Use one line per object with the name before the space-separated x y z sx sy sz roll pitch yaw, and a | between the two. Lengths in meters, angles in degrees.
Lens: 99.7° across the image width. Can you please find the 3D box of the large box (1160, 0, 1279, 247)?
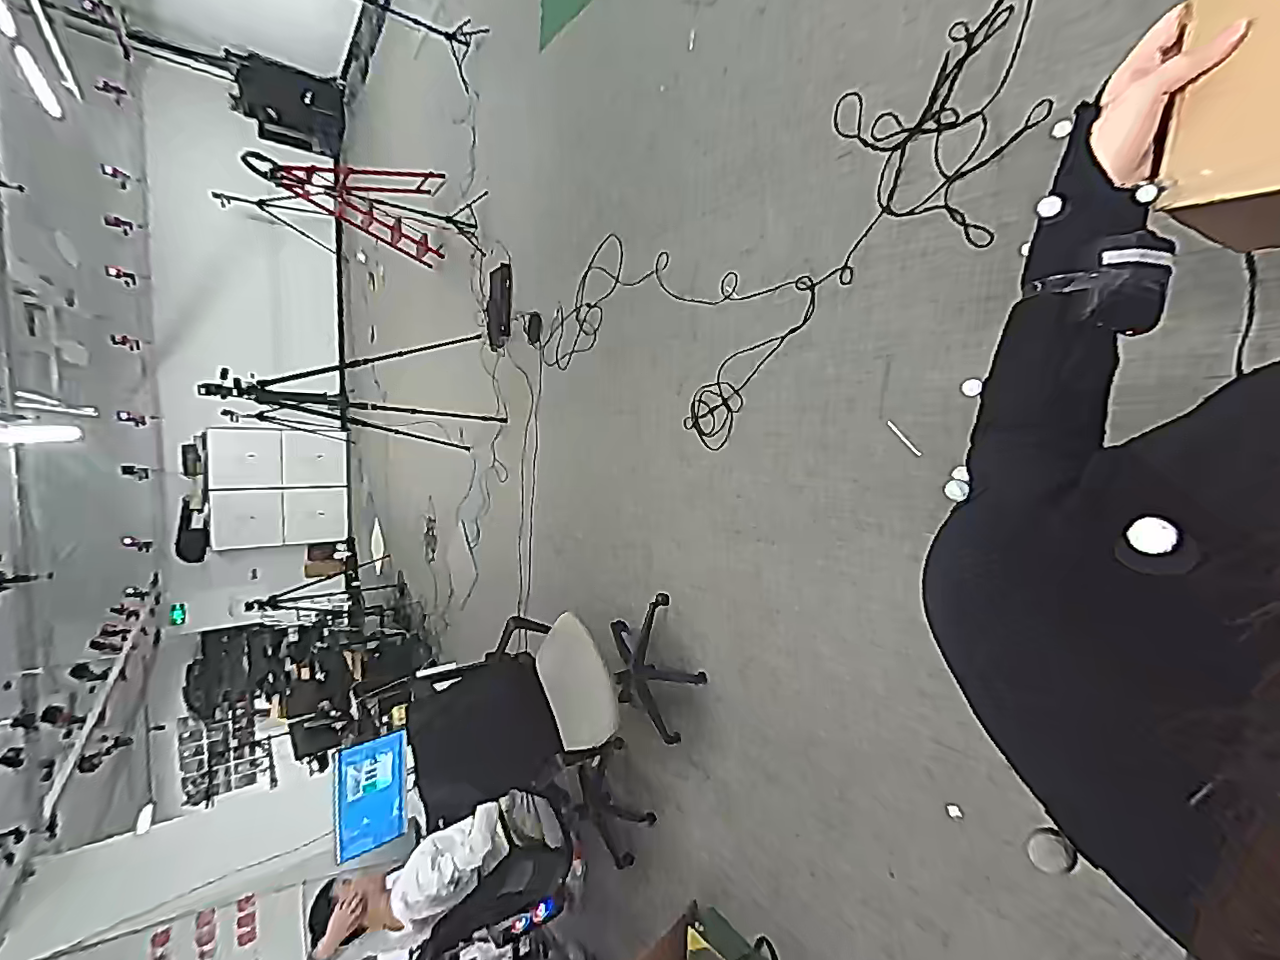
large box | 0.631 -0.342 0.306 0.408 0.320 0.320 16 110 54
